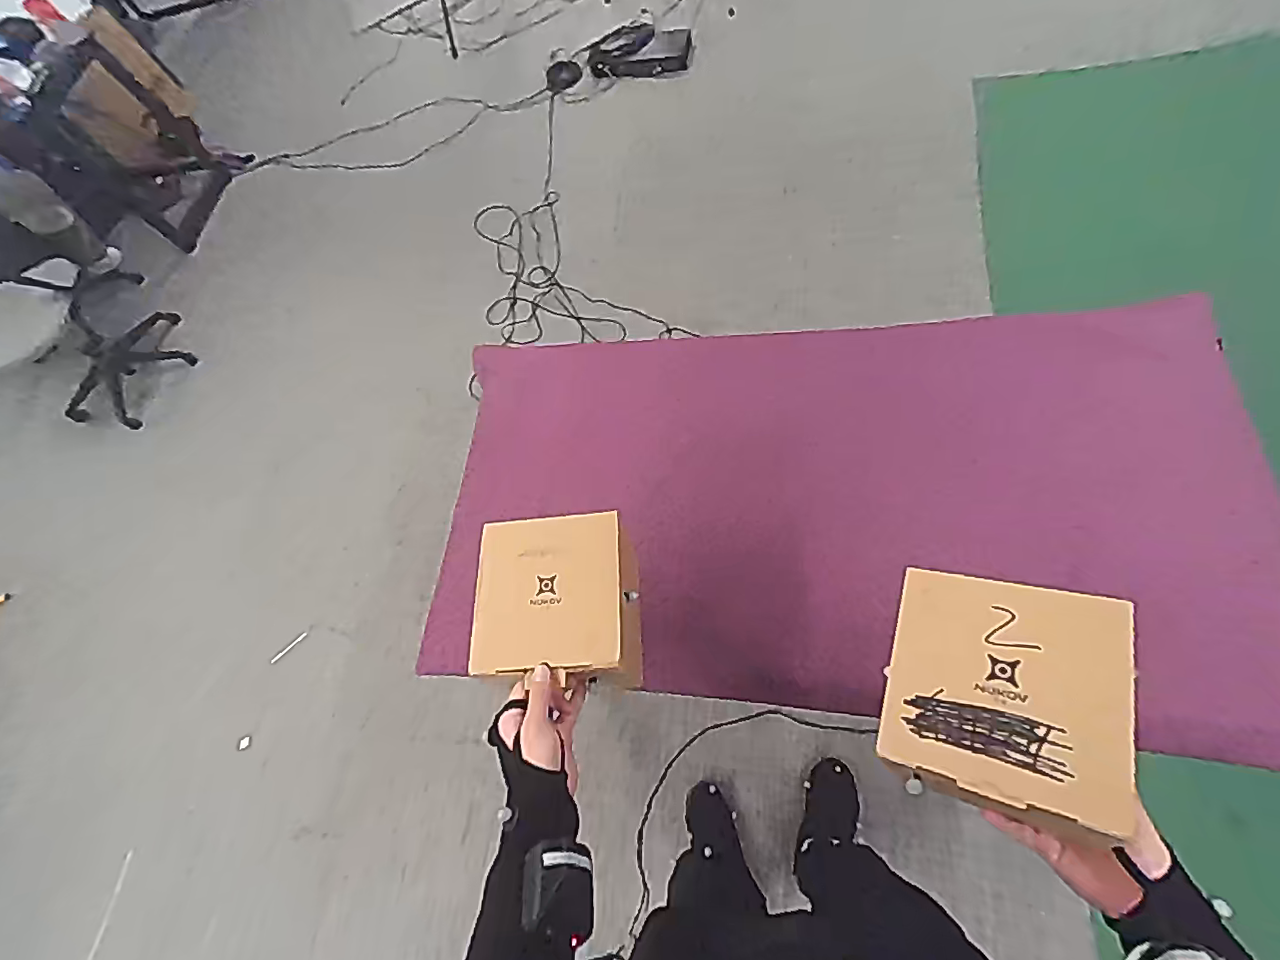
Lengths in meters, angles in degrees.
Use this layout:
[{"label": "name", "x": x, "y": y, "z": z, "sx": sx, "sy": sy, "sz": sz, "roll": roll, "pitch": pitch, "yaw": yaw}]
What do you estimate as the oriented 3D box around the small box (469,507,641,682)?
[{"label": "small box", "x": -0.092, "y": 0.151, "z": 0.673, "sx": 0.168, "sy": 0.176, "sz": 0.179, "roll": -5, "pitch": 61, "yaw": 7}]
